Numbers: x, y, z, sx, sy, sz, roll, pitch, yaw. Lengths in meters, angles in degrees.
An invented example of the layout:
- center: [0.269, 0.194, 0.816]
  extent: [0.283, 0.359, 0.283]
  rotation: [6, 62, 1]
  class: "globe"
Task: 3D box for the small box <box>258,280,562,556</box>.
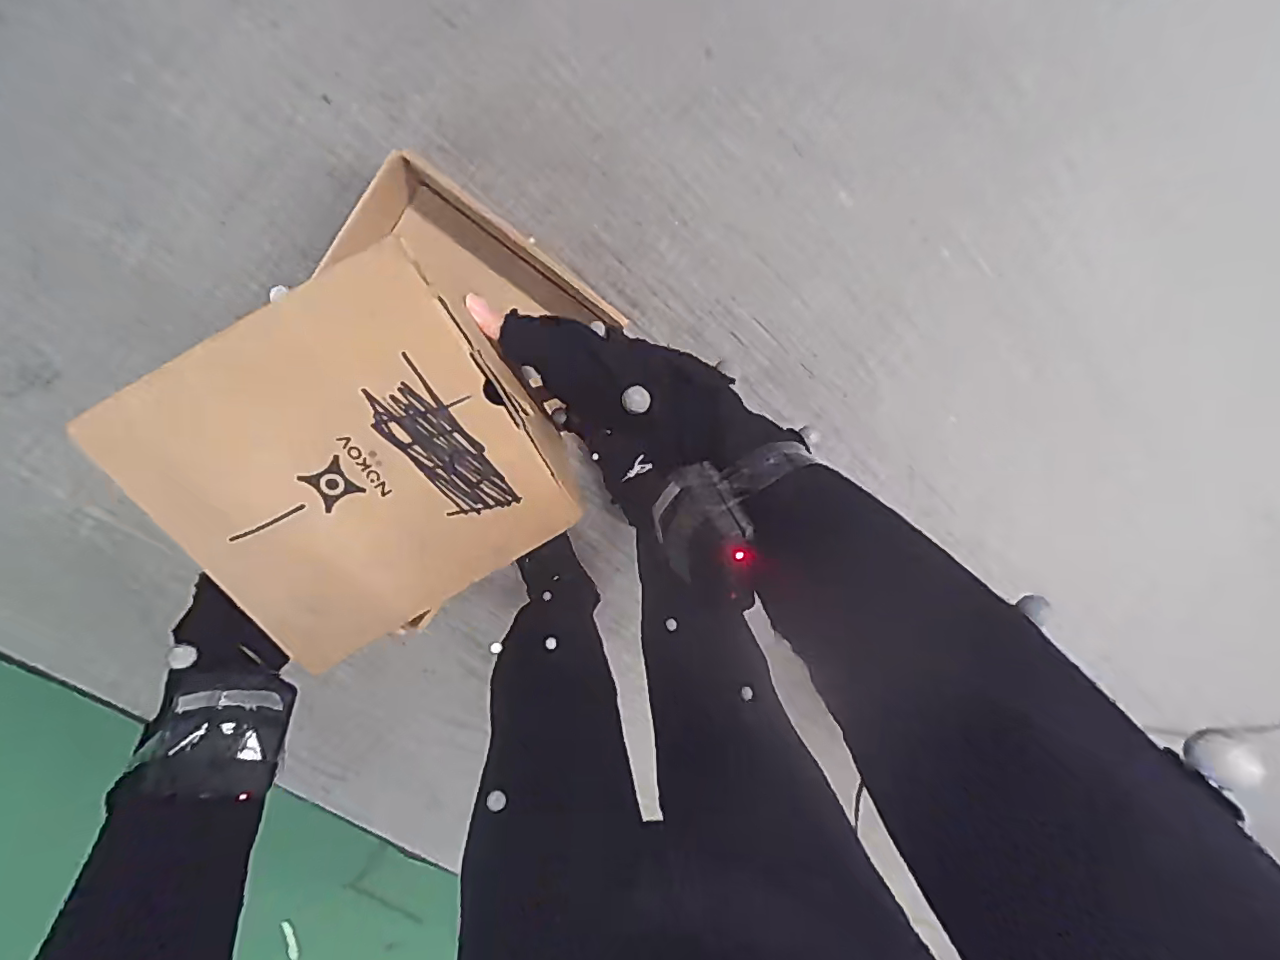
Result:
- center: [-0.186, -0.068, 0.501]
  extent: [0.168, 0.176, 0.179]
  rotation: [-29, 112, -1]
  class: "small box"
